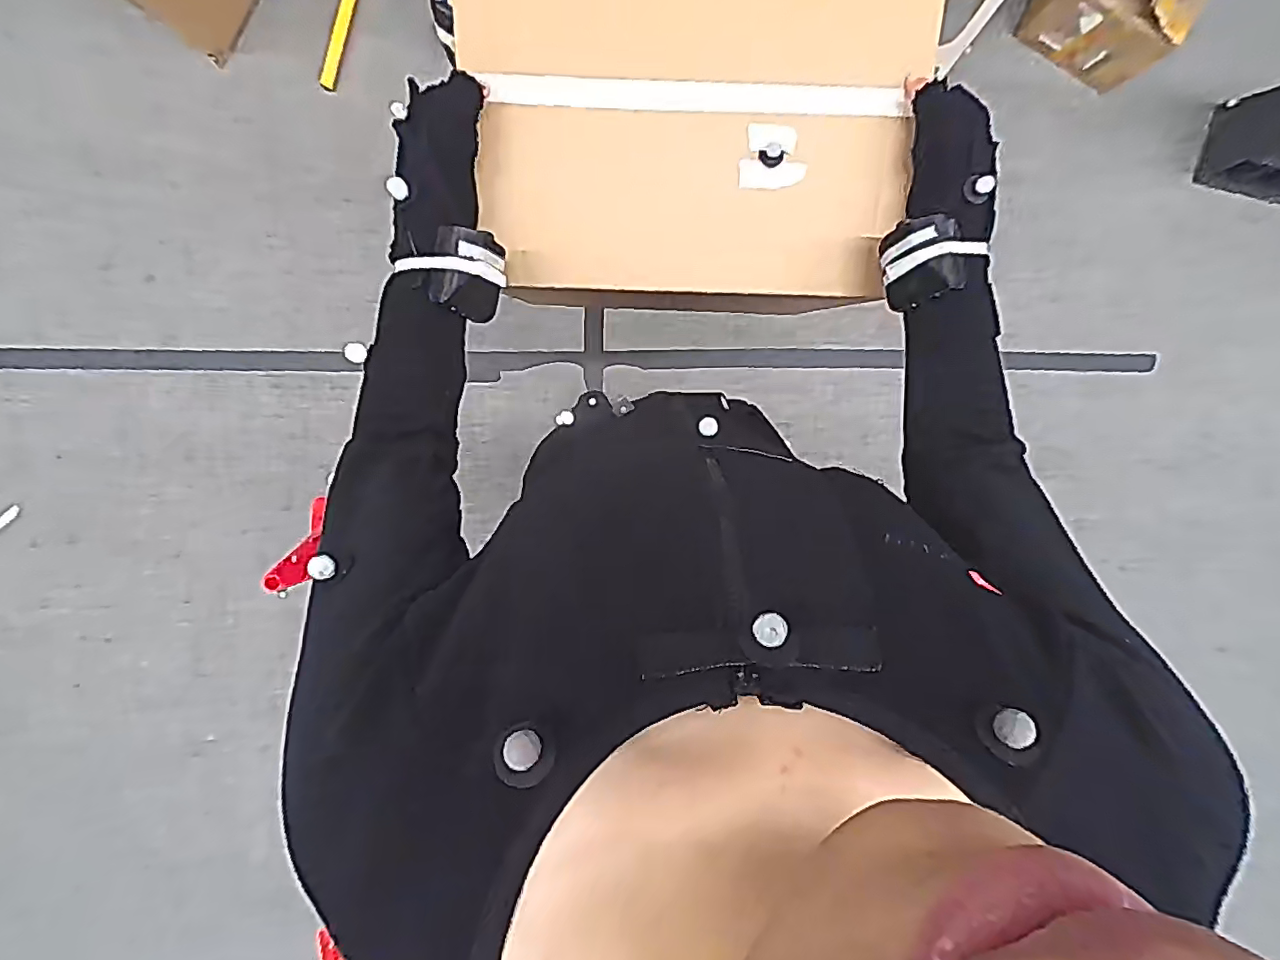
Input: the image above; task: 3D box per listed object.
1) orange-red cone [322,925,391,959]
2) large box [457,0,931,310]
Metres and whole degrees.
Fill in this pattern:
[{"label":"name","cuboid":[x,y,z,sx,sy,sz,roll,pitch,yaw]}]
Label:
[{"label":"orange-red cone","cuboid":[-0.843,1.461,1.463,0.198,0.360,0.199,-2,100,-3]},{"label":"large box","cuboid":[0.039,-0.365,0.612,0.408,0.320,0.320,1,104,-2]}]
